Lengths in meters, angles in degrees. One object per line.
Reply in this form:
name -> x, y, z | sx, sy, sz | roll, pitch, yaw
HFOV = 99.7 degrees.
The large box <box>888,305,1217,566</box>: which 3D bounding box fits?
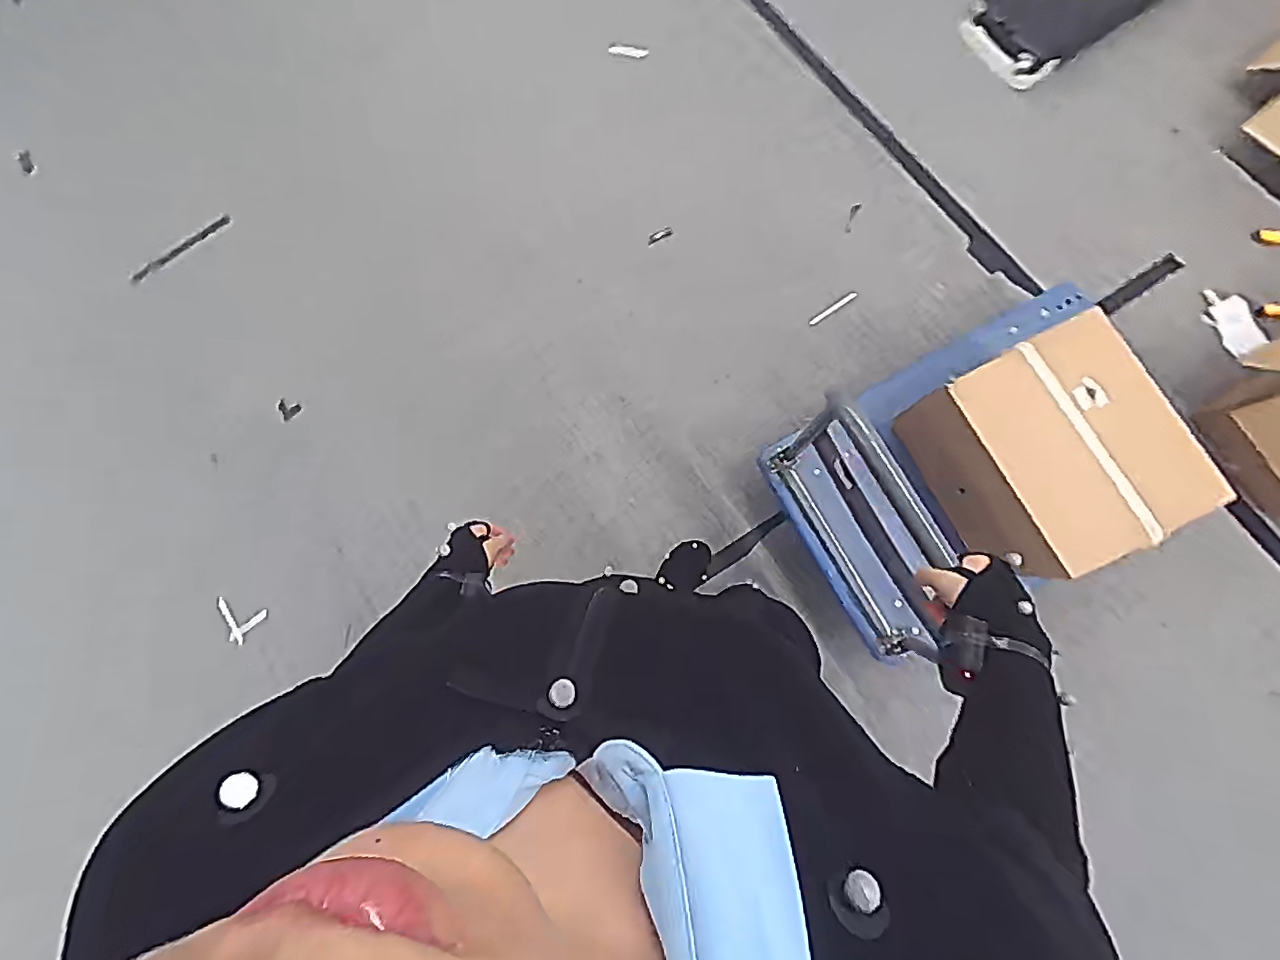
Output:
large box -> 0.807, -0.067, 1.132 | 0.320, 0.320, 0.408 | -28, 79, 1
